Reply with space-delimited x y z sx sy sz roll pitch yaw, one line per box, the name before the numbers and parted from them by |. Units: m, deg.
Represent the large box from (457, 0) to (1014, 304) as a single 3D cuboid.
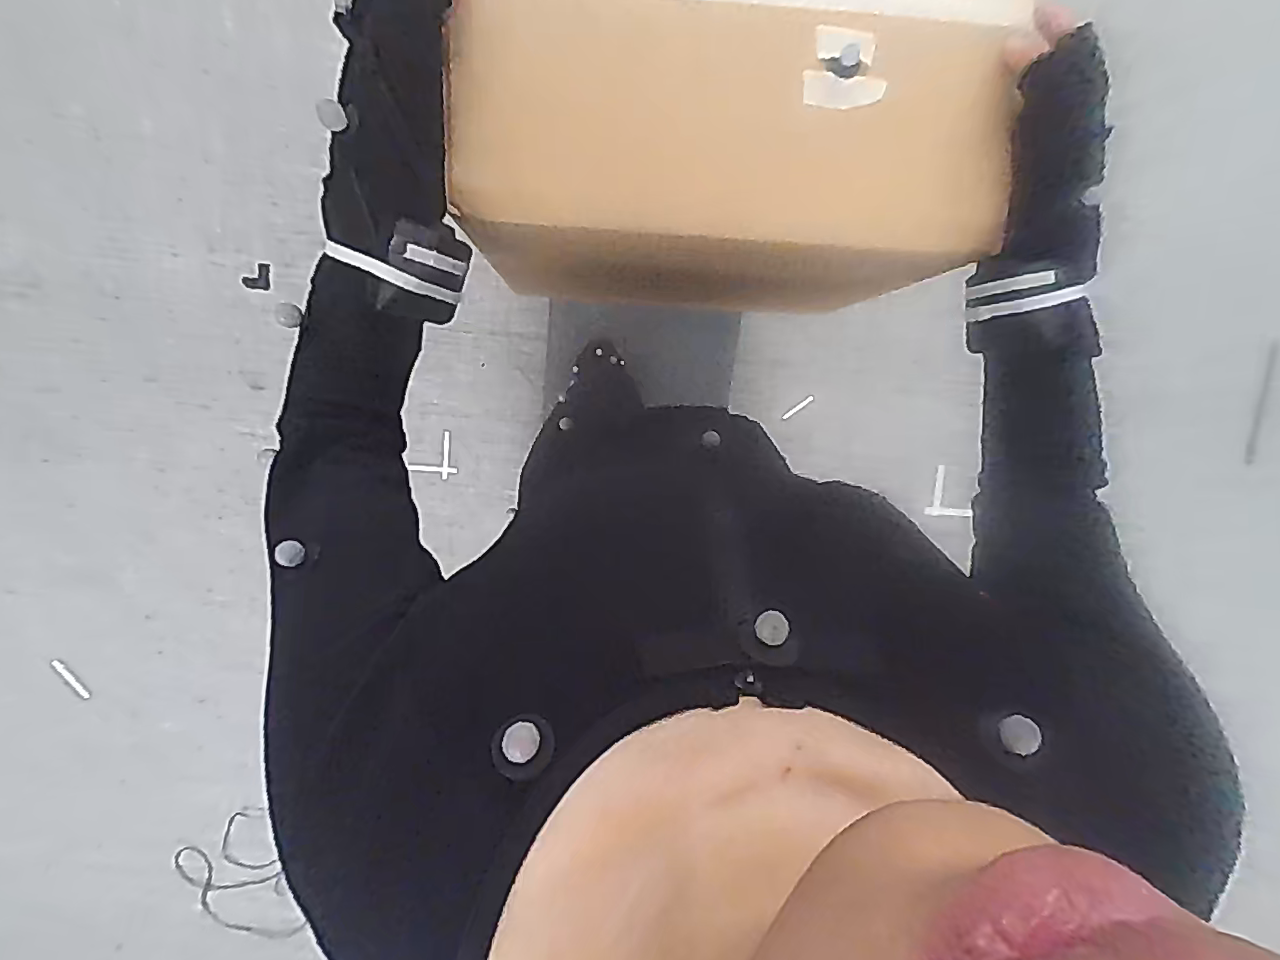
large box | 0.059 -0.362 0.523 0.408 0.320 0.320 2 99 -6
